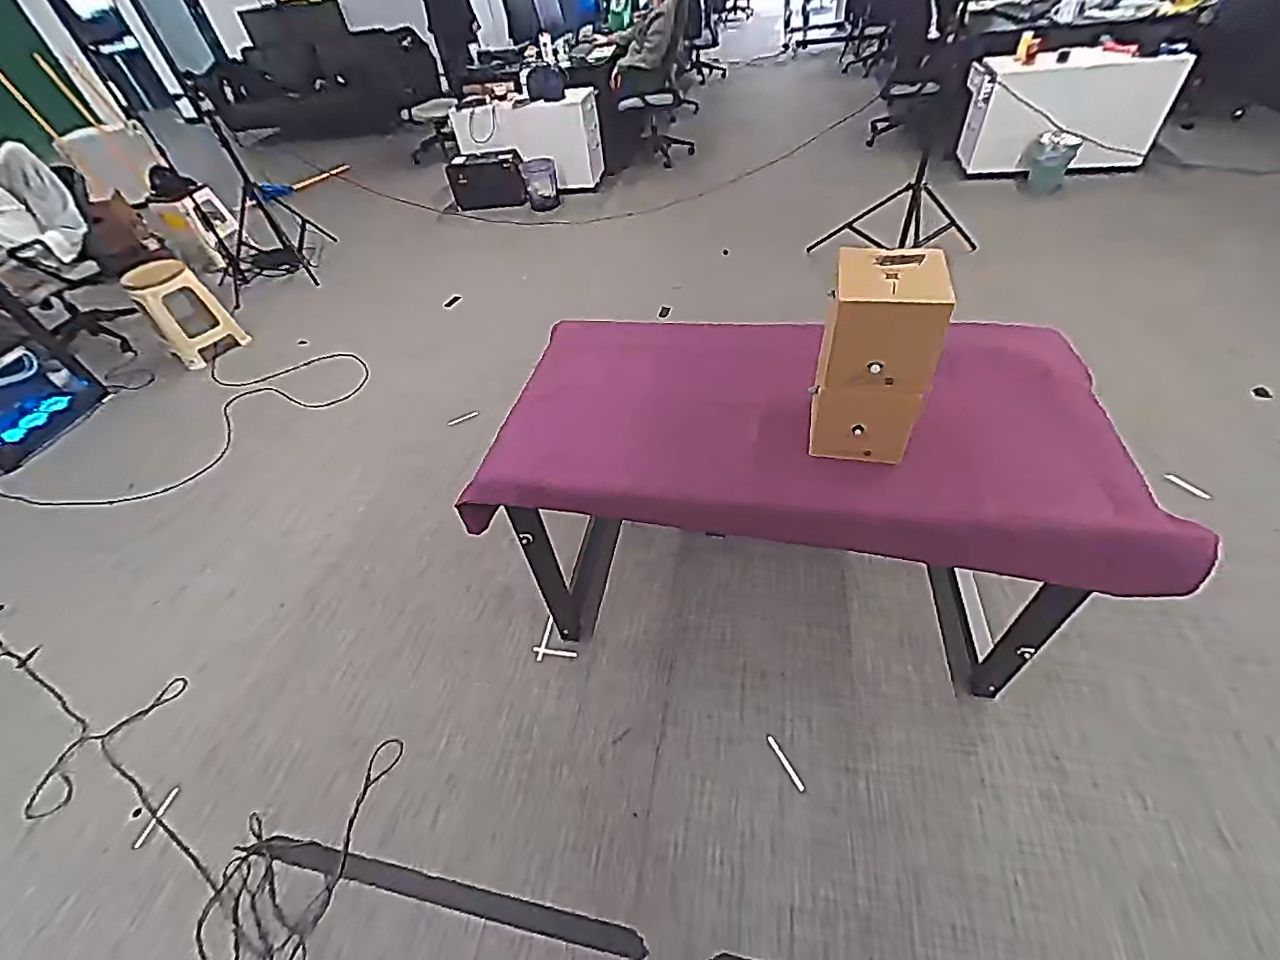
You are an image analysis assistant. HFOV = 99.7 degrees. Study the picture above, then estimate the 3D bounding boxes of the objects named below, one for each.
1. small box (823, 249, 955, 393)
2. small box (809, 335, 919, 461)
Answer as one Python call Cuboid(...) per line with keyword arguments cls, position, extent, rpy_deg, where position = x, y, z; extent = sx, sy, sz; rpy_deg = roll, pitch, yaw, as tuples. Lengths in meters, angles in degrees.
Cuboid(cls="small box", position=(0.409, -0.271, 0.918), extent=(0.168, 0.176, 0.179), rpy_deg=(6, 49, 14))
Cuboid(cls="small box", position=(0.421, -0.156, 1.036), extent=(0.168, 0.176, 0.179), rpy_deg=(7, 48, 13))
